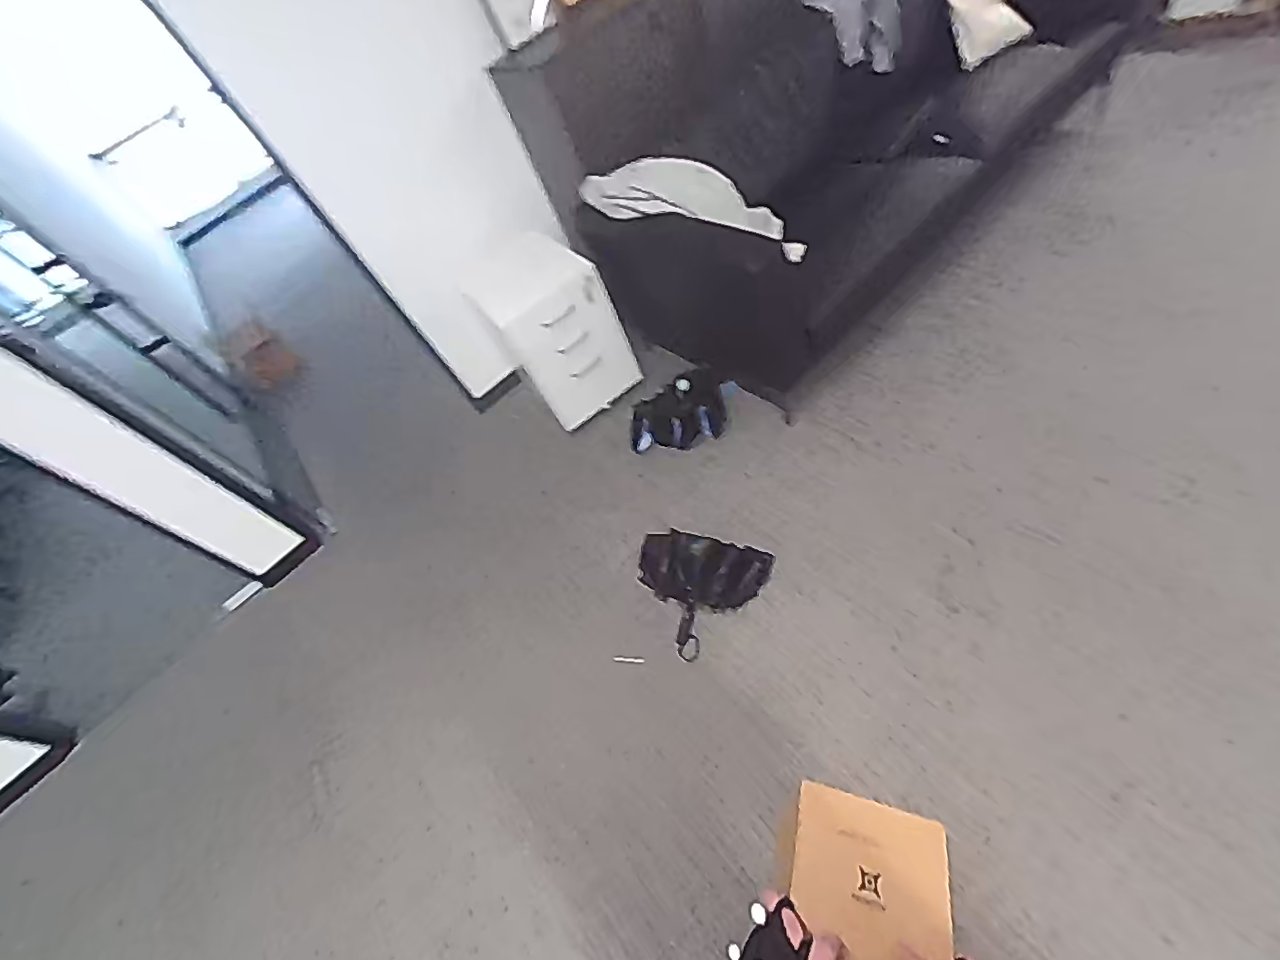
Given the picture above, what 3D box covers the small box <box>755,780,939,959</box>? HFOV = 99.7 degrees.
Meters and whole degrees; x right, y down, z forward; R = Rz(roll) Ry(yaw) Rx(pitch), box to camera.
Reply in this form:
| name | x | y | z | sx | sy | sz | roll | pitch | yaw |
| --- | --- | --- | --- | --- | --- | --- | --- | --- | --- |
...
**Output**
| name | x | y | z | sx | sy | sz | roll | pitch | yaw |
| --- | --- | --- | --- | --- | --- | --- | --- | --- | --- |
| small box | 0.240 | 0.504 | 0.652 | 0.168 | 0.176 | 0.179 | 12 | 45 | 11 |
